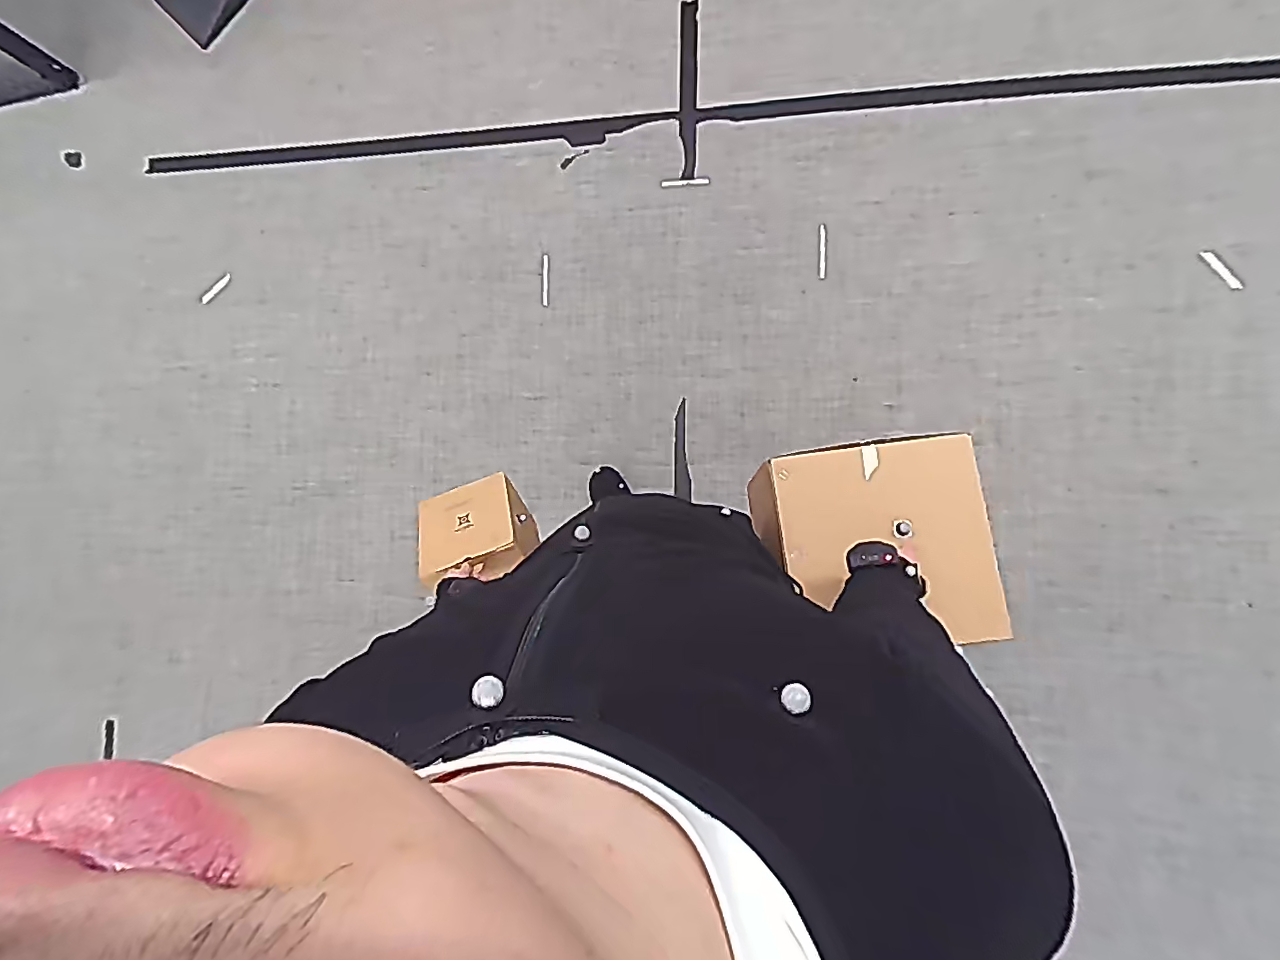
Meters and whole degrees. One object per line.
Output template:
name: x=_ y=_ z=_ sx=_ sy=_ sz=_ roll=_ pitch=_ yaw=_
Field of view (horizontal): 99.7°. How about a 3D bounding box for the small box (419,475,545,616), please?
small box: x=-0.286 y=0.128 z=0.993 sx=0.168 sy=0.176 sz=0.179 roll=-20 pitch=47 yaw=-2
